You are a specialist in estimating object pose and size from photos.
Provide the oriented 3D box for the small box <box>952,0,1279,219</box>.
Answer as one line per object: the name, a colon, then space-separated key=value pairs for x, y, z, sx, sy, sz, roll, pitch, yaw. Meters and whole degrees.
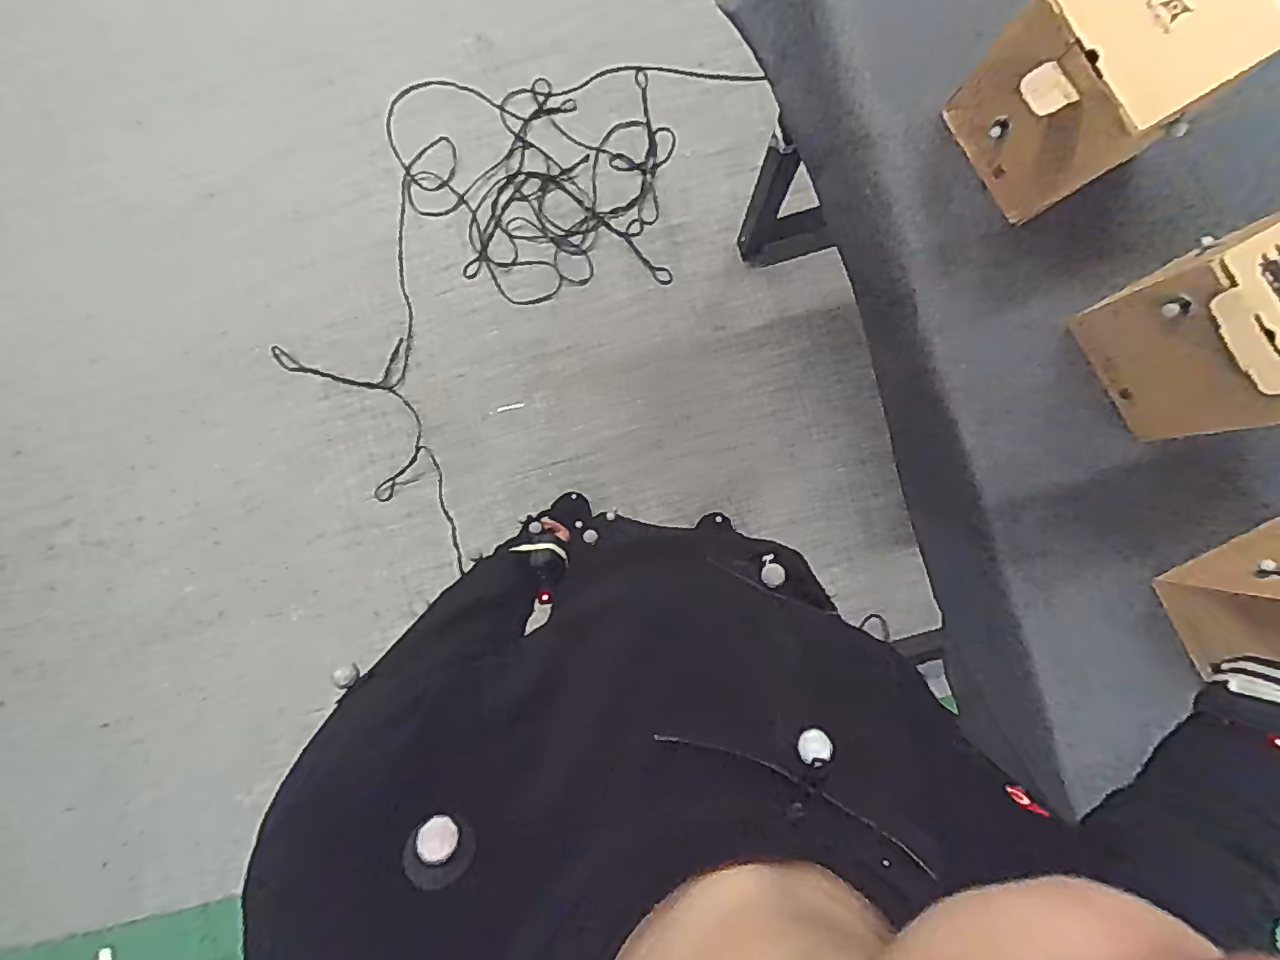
small box: x=0.478 y=-0.417 z=0.562 sx=0.179 sy=0.176 sz=0.168 roll=-31 pitch=88 yaw=0

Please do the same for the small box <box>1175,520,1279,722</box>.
small box: x=0.703 y=0.147 z=0.539 sx=0.179 sy=0.176 sz=0.168 roll=-26 pitch=88 yaw=-1
